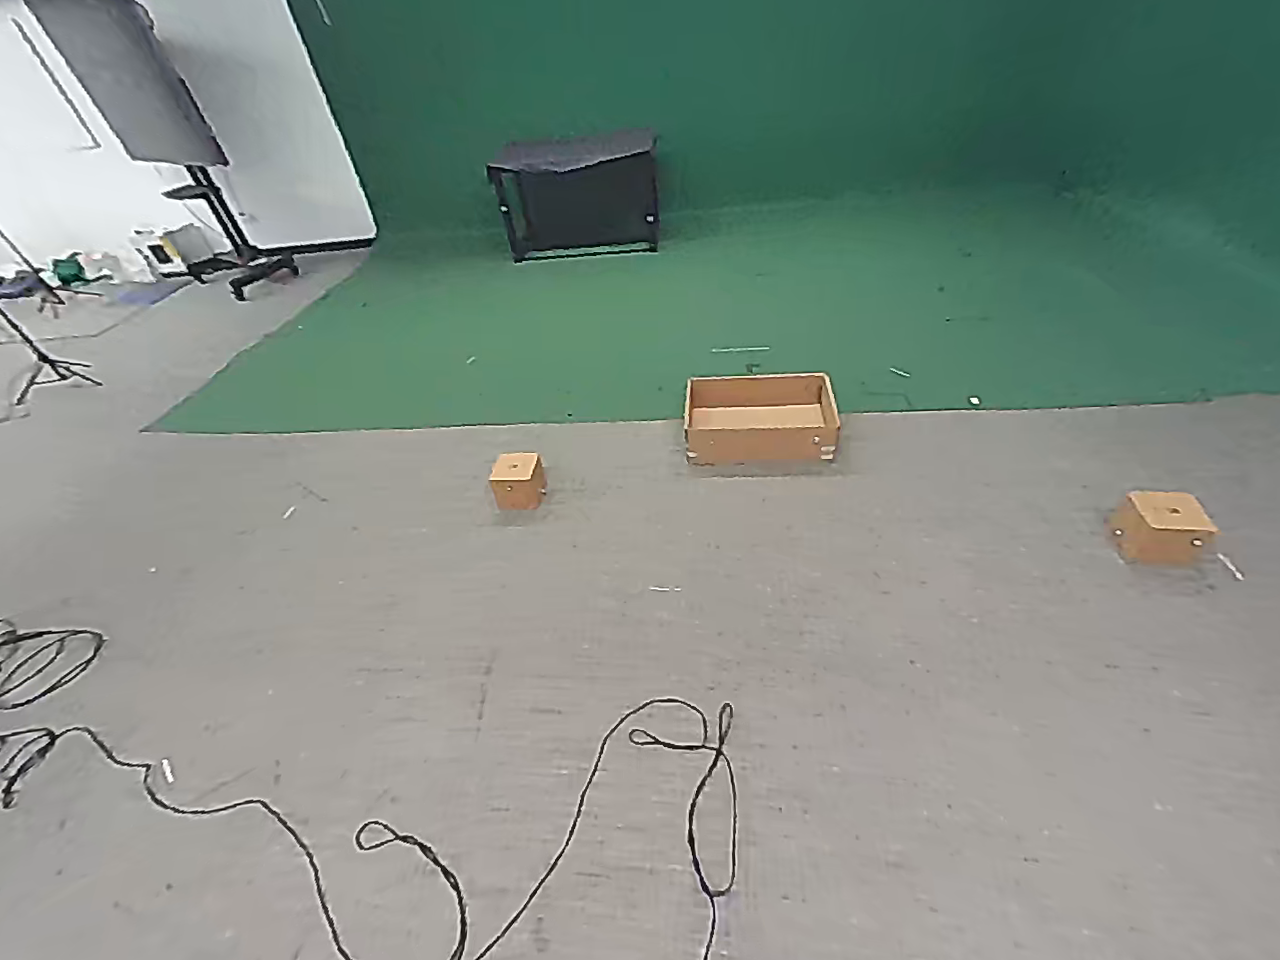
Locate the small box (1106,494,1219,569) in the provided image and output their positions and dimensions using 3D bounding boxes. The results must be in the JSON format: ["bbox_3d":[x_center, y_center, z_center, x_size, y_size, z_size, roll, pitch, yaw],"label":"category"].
[{"bbox_3d":[1.642,0.164,1.713,0.179,0.176,0.168,3,42,13],"label":"small box"}]

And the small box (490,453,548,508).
[{"bbox_3d":[-0.497,0.004,2.241,0.179,0.176,0.168,-1,43,6],"label":"small box"}]
